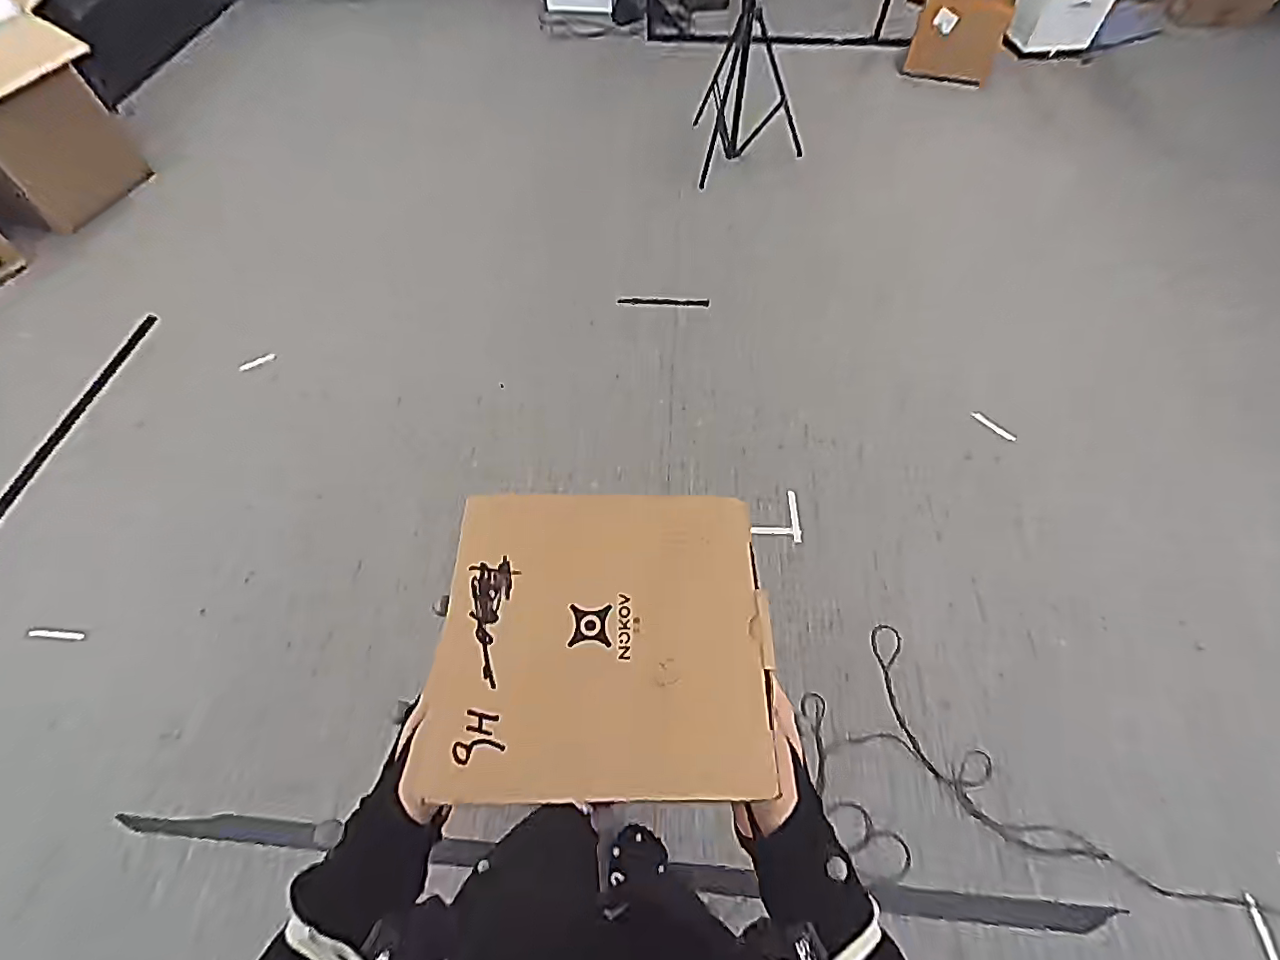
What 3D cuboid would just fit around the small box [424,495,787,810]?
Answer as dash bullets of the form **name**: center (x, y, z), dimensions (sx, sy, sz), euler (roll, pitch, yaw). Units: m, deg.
- **small box**: center (-0.021, 0.124, 0.364), dimensions (0.179, 0.176, 0.168), euler (2, 59, -4)
